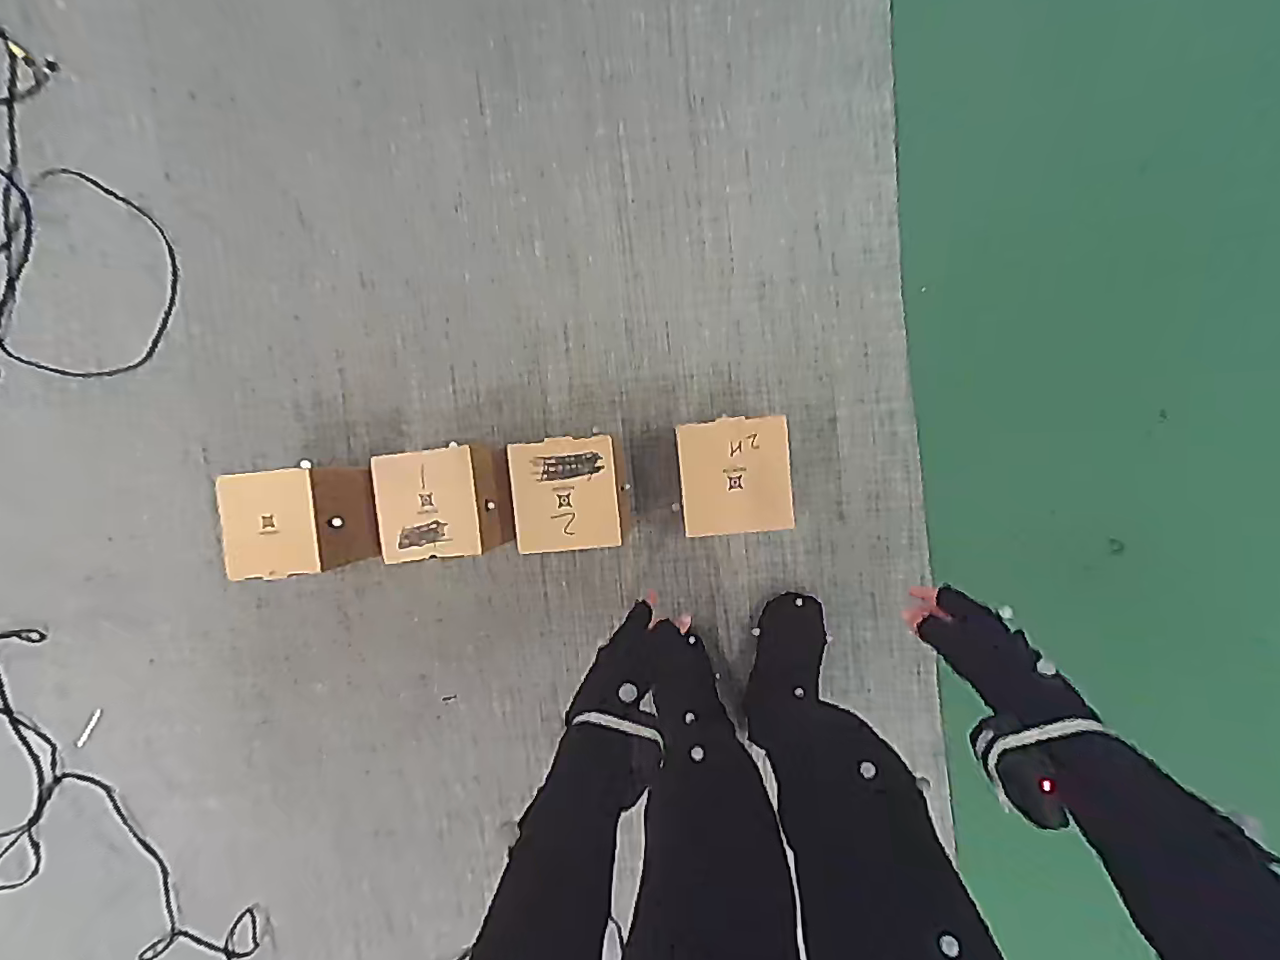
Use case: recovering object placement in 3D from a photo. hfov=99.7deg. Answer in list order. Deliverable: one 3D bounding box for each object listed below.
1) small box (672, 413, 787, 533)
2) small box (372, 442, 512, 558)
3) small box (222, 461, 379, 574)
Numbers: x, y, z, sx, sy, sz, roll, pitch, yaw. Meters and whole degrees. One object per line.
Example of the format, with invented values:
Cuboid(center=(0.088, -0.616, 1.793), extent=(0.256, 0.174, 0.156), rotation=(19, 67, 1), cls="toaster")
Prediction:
Cuboid(center=(0.143, -0.014, 0.900), extent=(0.168, 0.176, 0.179), rotation=(-5, 92, 5), cls="small box")
Cuboid(center=(-0.334, 0.030, 0.942), extent=(0.168, 0.176, 0.179), rotation=(-6, 91, 6), cls="small box")
Cuboid(center=(-0.597, 0.061, 0.970), extent=(0.168, 0.176, 0.179), rotation=(-6, 92, 6), cls="small box")
